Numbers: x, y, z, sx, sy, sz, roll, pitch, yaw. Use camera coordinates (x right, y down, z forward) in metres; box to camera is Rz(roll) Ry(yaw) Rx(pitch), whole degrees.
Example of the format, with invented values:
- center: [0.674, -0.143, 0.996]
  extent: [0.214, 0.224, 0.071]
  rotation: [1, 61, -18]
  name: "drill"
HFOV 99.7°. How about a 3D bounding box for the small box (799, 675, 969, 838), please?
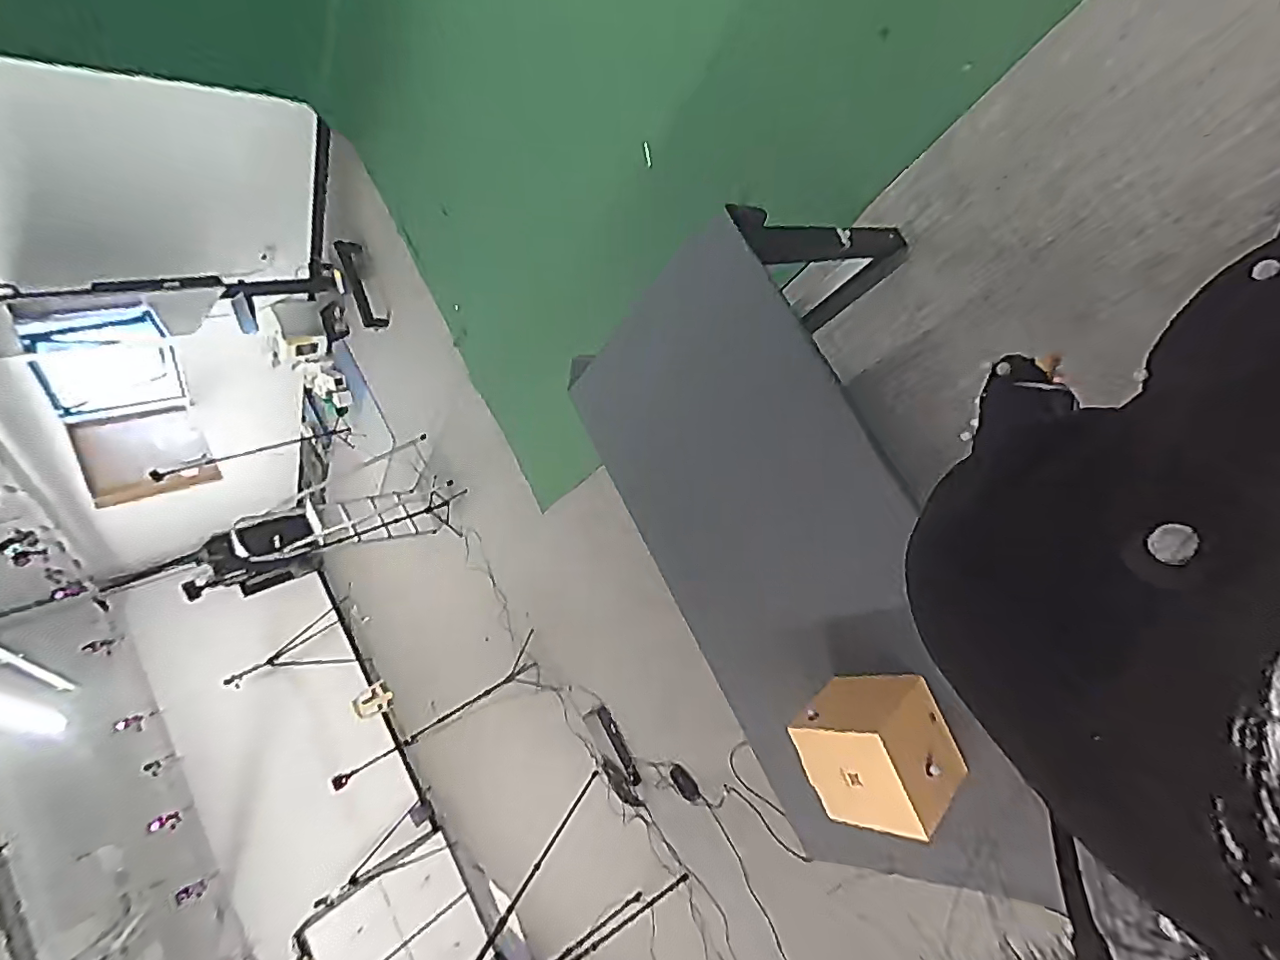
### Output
- center: [0.402, 0.434, 0.881]
  extent: [0.179, 0.176, 0.168]
  rotation: [-31, 83, 52]
  name: "small box"
